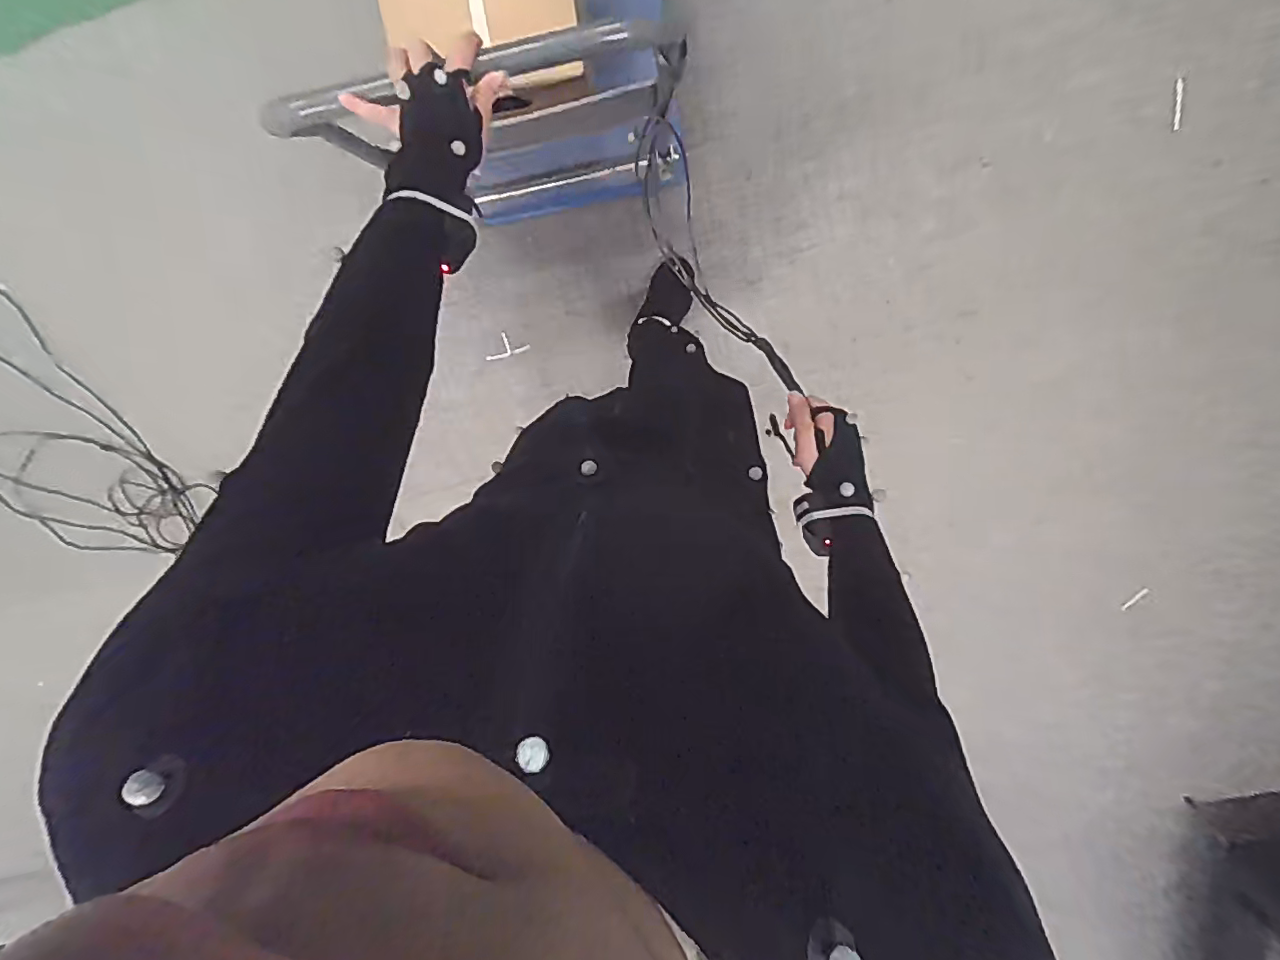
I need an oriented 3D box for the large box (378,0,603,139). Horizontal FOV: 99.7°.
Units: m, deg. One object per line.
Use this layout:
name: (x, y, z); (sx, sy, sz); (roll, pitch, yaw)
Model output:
large box: (-0.262, -0.885, 0.951); (0.320, 0.320, 0.408); (-7, 110, 4)
